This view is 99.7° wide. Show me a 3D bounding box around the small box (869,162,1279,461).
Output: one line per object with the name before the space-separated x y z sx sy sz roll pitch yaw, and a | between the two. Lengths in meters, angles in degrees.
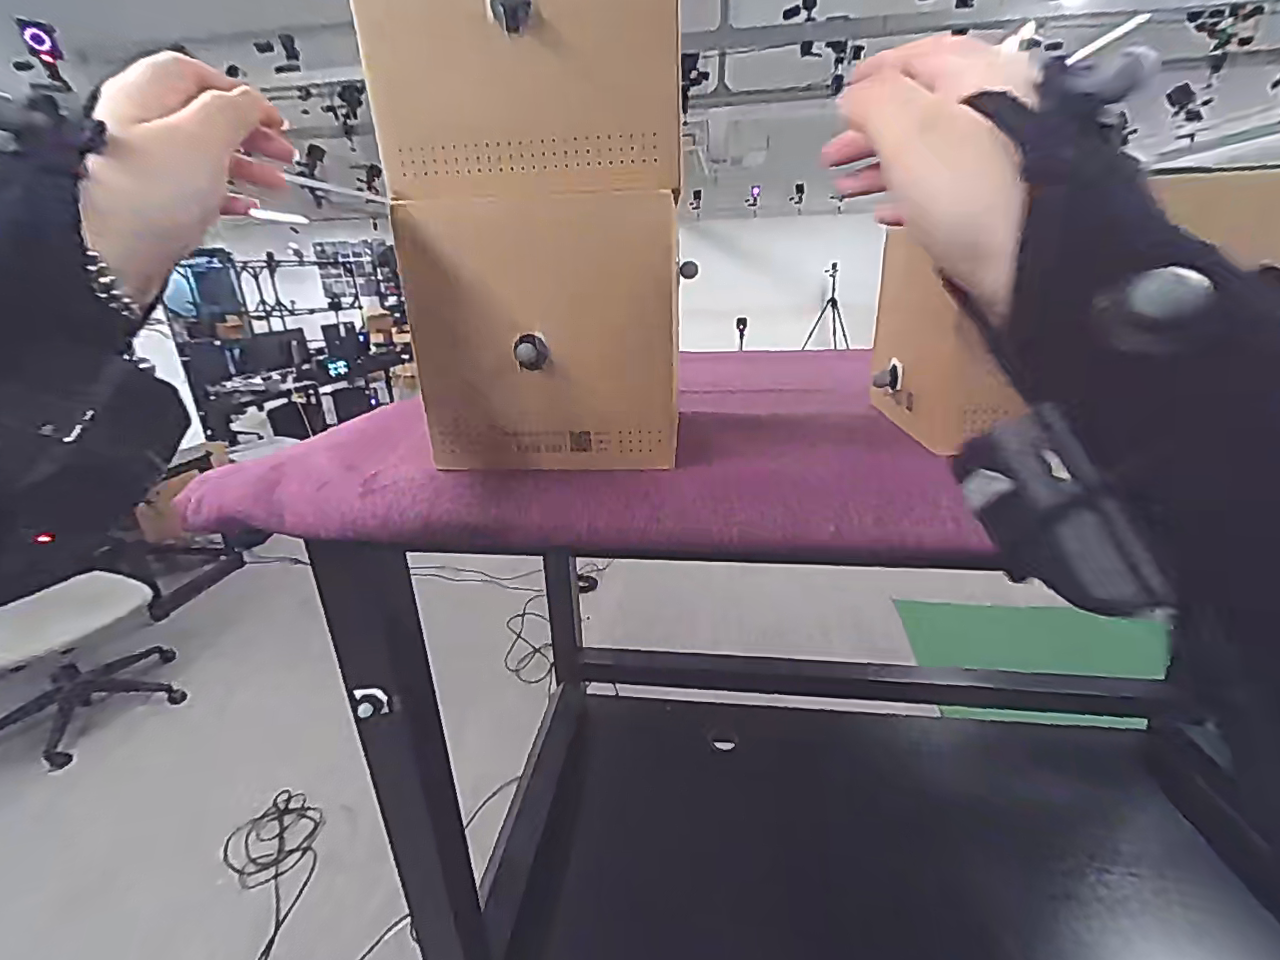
small box | 0.285 -0.118 0.397 0.179 0.176 0.168 -2 20 6

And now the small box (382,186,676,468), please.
small box | -0.058 -0.112 0.408 0.168 0.176 0.179 1 21 5
